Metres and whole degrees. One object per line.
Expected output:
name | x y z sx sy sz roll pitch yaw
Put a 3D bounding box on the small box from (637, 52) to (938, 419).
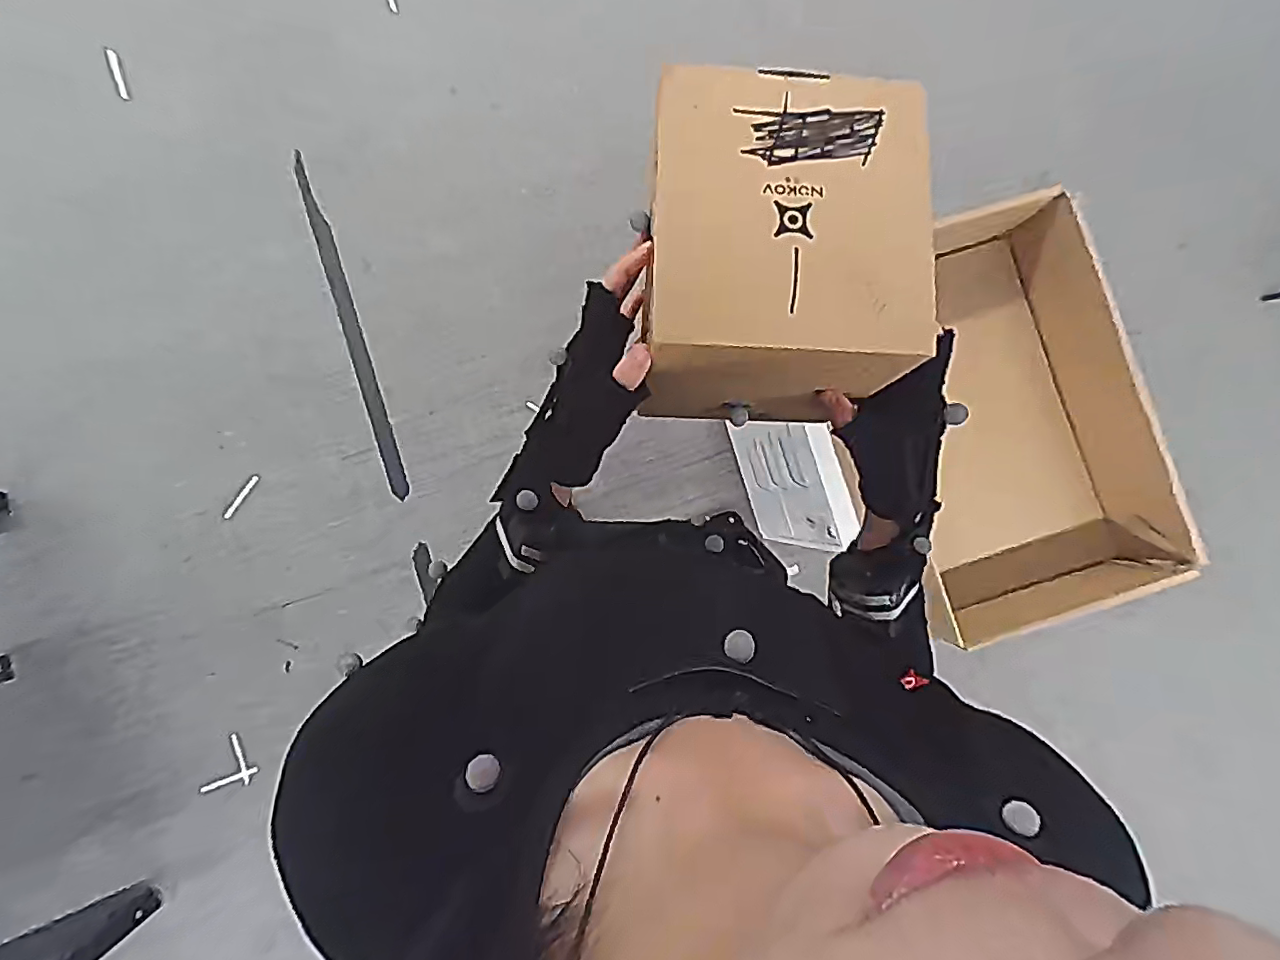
small box | 0.085 -0.153 0.392 0.168 0.176 0.179 2 82 -3
